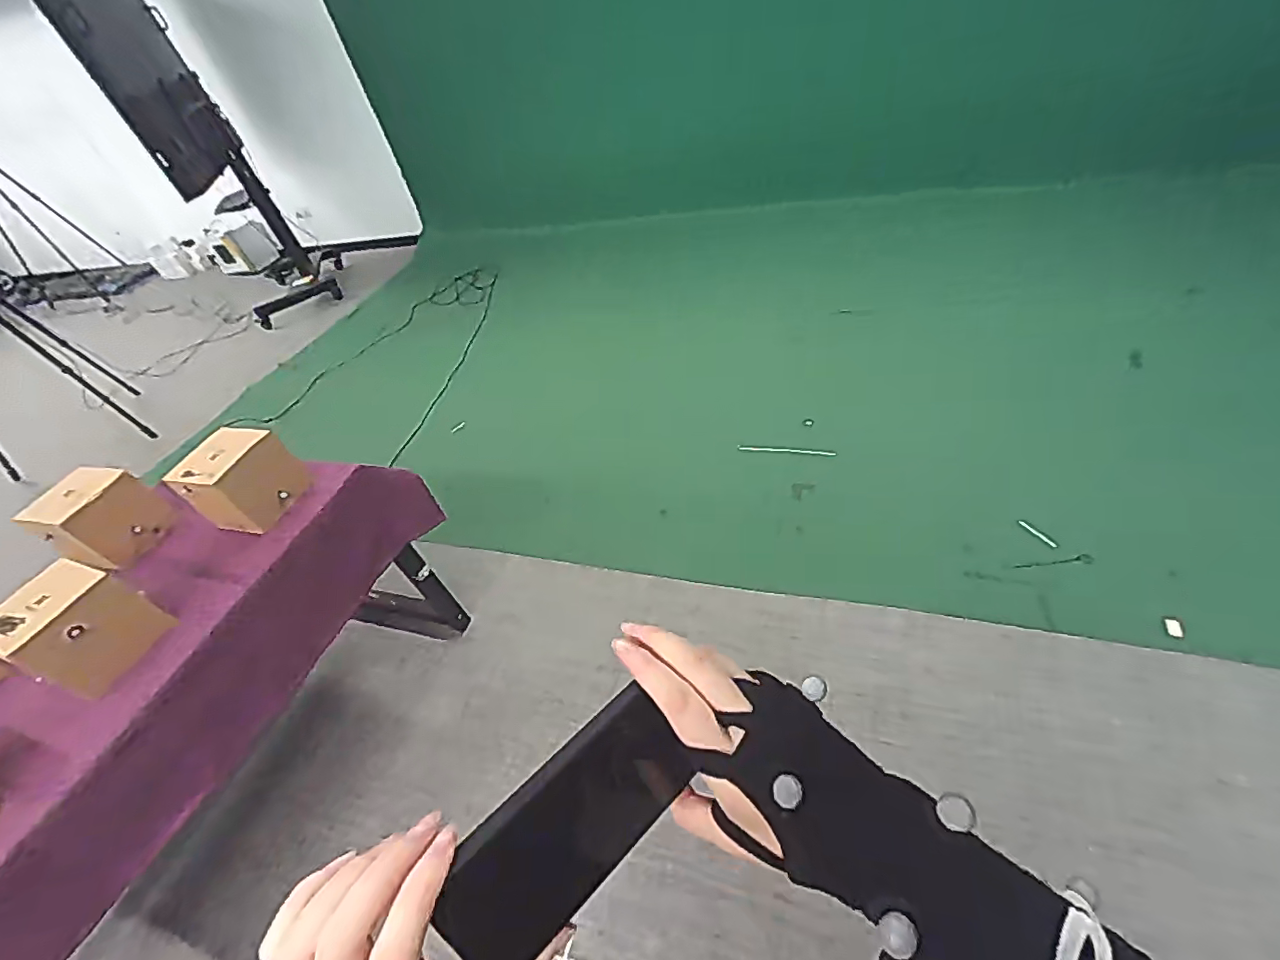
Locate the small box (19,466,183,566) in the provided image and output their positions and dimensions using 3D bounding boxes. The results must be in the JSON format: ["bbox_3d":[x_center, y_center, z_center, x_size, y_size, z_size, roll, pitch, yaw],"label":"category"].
[{"bbox_3d":[-1.249,0.086,1.266,0.179,0.176,0.168,4,48,18],"label":"small box"}]

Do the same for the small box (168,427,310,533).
[{"bbox_3d":[-0.915,-0.003,1.260,0.168,0.176,0.179,4,47,20],"label":"small box"}]

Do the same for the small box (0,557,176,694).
[{"bbox_3d":[-1.053,0.275,1.023,0.168,0.176,0.179,8,48,23],"label":"small box"}]
